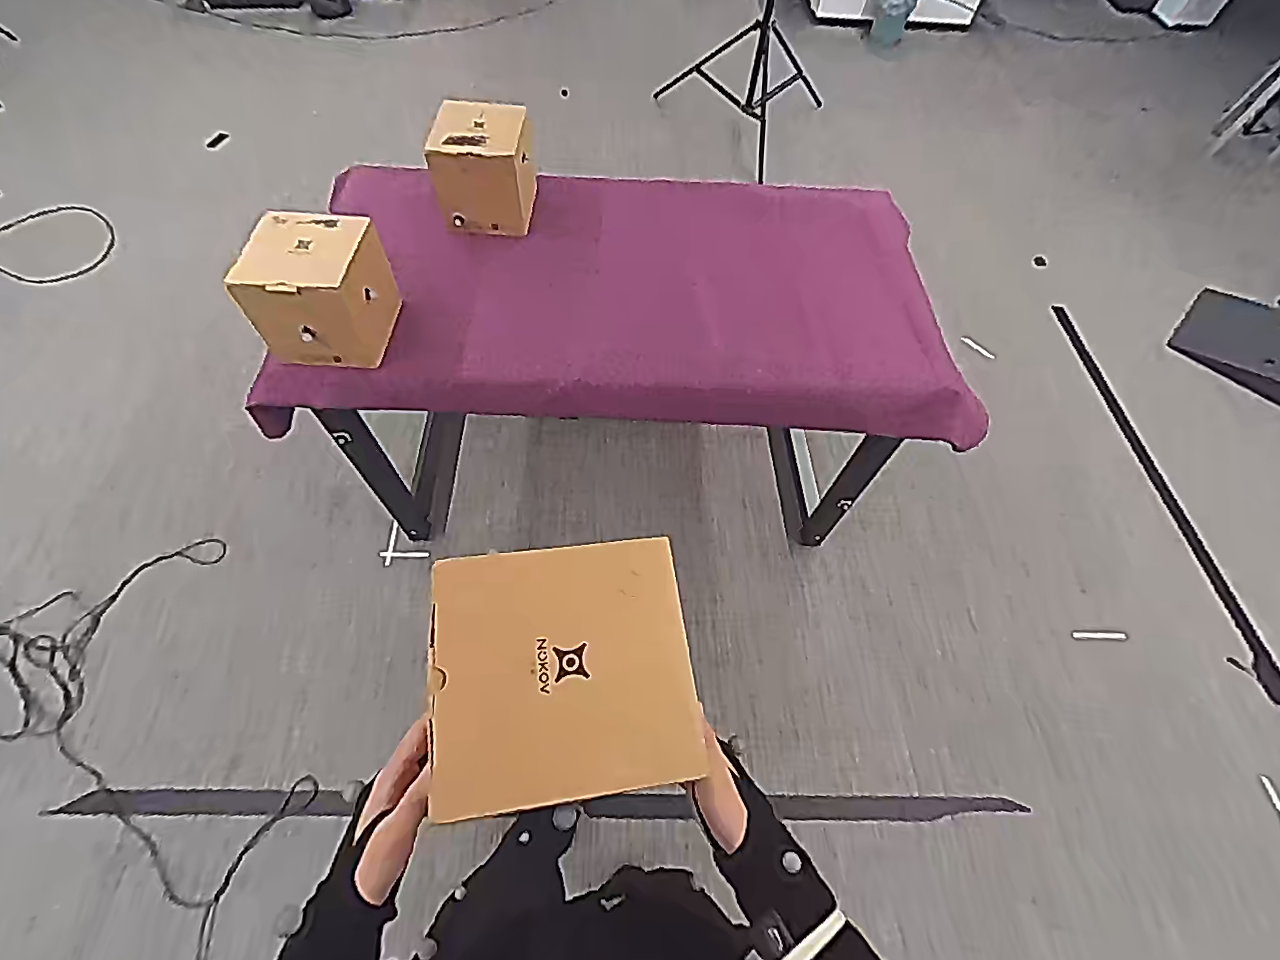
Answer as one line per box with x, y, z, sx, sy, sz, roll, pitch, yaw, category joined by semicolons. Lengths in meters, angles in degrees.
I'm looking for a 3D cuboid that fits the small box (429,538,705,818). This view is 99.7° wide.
-0.060;0.158;0.443;0.179;0.176;0.168;-6;65;-8;small box

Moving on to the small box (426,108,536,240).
-0.309;-0.612;1.092;0.168;0.176;0.179;3;60;-2;small box

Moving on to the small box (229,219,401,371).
-0.516;-0.299;0.893;0.168;0.176;0.179;3;59;-3;small box
